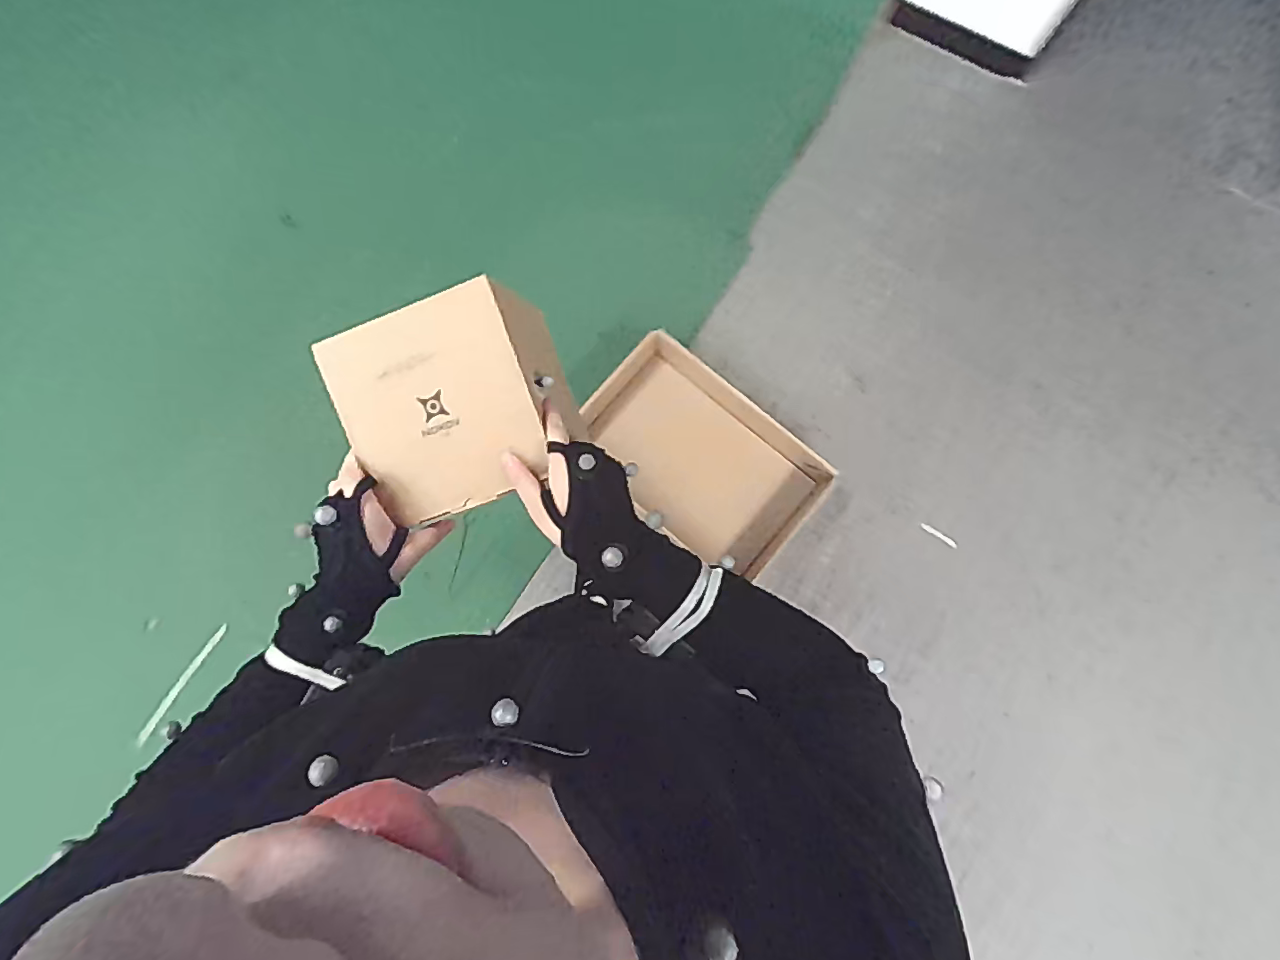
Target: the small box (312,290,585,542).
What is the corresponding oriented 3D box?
[{"bbox_3d":[-0.167,-0.063,0.533,0.168,0.176,0.179,-19,97,7],"label":"small box"}]
